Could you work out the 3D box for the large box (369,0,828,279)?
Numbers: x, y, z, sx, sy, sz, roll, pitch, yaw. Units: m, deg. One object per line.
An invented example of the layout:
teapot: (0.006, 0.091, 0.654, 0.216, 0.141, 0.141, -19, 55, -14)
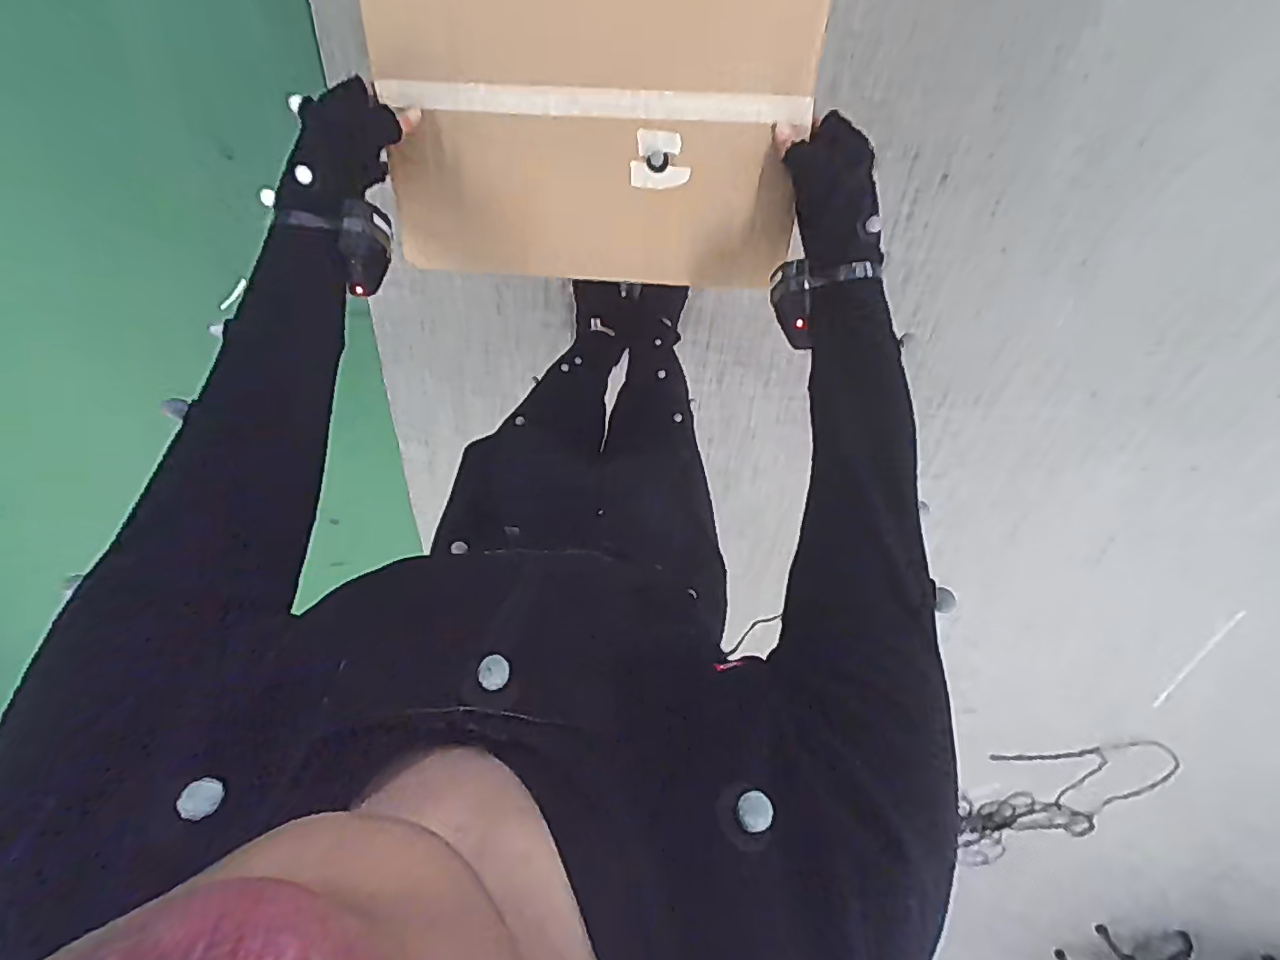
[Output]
large box: (-0.036, -0.422, 0.624, 0.408, 0.320, 0.320, 4, 119, 1)
